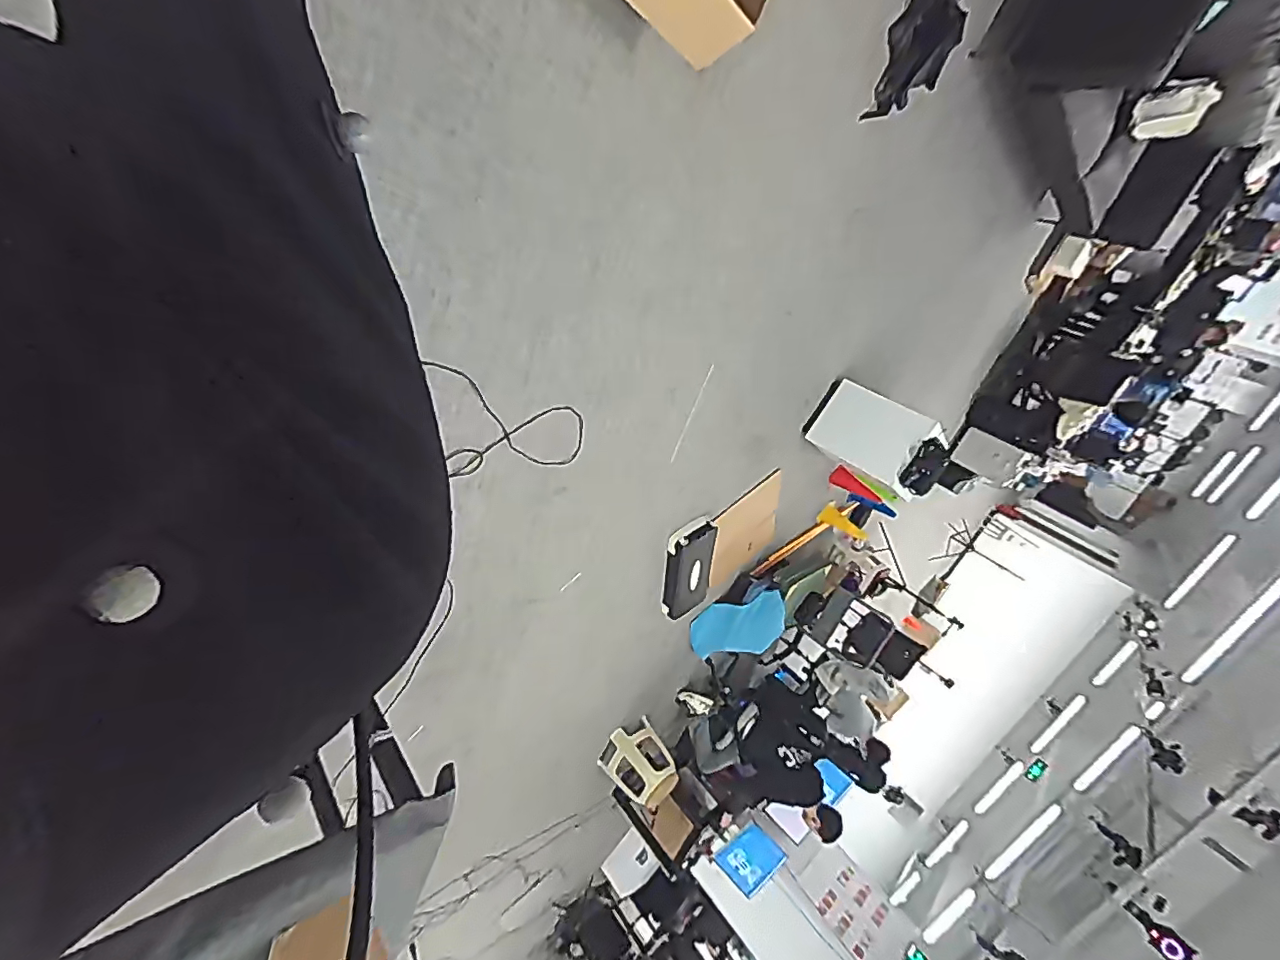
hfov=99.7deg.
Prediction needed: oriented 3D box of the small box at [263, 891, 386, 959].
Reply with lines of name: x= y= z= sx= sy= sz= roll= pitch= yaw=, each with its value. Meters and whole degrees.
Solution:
small box: x=-0.656 y=1.010 z=1.116 sx=0.179 sy=0.176 sz=0.168 roll=-1 pitch=121 yaw=-47
